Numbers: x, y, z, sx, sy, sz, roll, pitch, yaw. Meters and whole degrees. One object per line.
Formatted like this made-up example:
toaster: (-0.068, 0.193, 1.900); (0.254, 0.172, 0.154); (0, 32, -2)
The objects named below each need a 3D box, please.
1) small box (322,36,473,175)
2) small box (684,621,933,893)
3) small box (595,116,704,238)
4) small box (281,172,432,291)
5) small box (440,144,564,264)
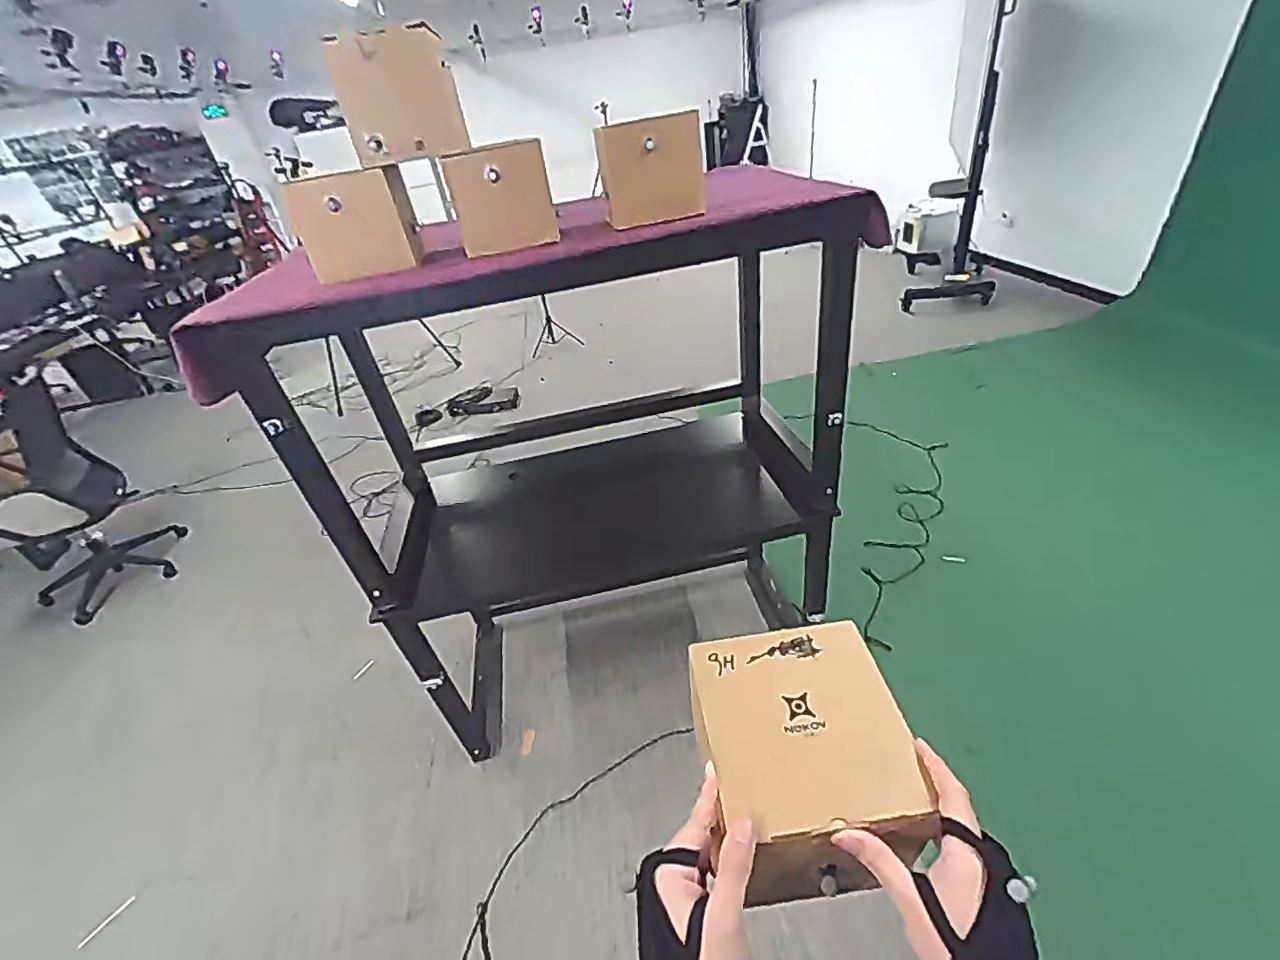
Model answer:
small box: (-0.398, -0.631, 0.926); (0.168, 0.176, 0.179); (-11, 34, -2)
small box: (0.140, 0.265, 0.515); (0.168, 0.176, 0.179); (-8, 39, -1)
small box: (0.020, -0.580, 1.034); (0.179, 0.176, 0.168); (-13, 34, -2)
small box: (-0.513, -0.466, 1.008); (0.179, 0.176, 0.168); (-13, 36, -5)
small box: (-0.250, -0.517, 1.015); (0.179, 0.176, 0.168); (-12, 35, -3)
